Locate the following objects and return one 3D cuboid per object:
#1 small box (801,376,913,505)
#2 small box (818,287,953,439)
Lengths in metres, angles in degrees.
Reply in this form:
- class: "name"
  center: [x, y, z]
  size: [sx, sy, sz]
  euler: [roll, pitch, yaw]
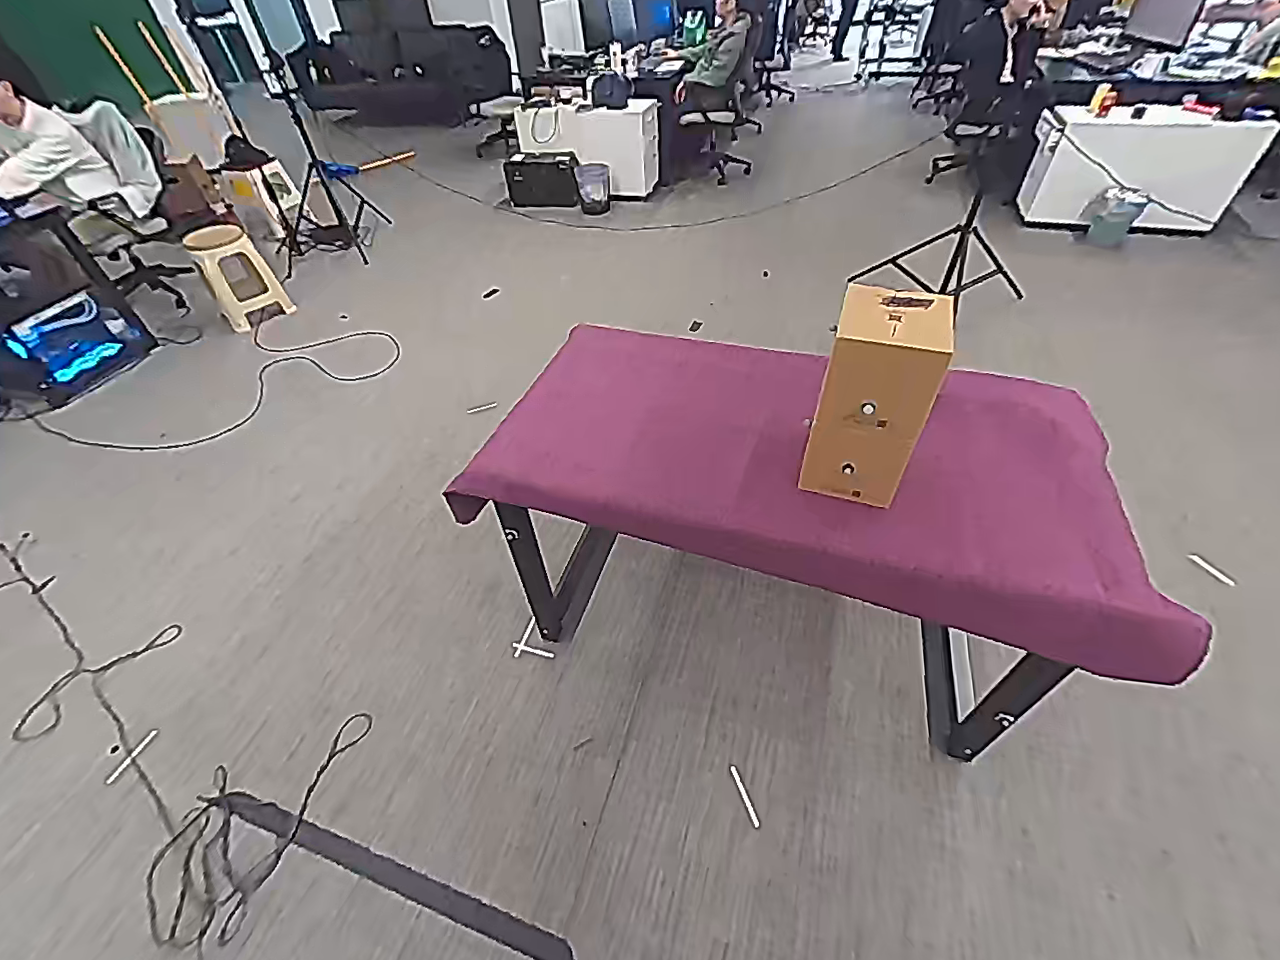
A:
- class: "small box"
  center: [0.407, -0.079, 1.018]
  size: [0.168, 0.176, 0.179]
  euler: [14, 47, 16]
- class: "small box"
  center: [0.404, -0.196, 0.903]
  size: [0.168, 0.176, 0.179]
  euler: [13, 48, 16]
